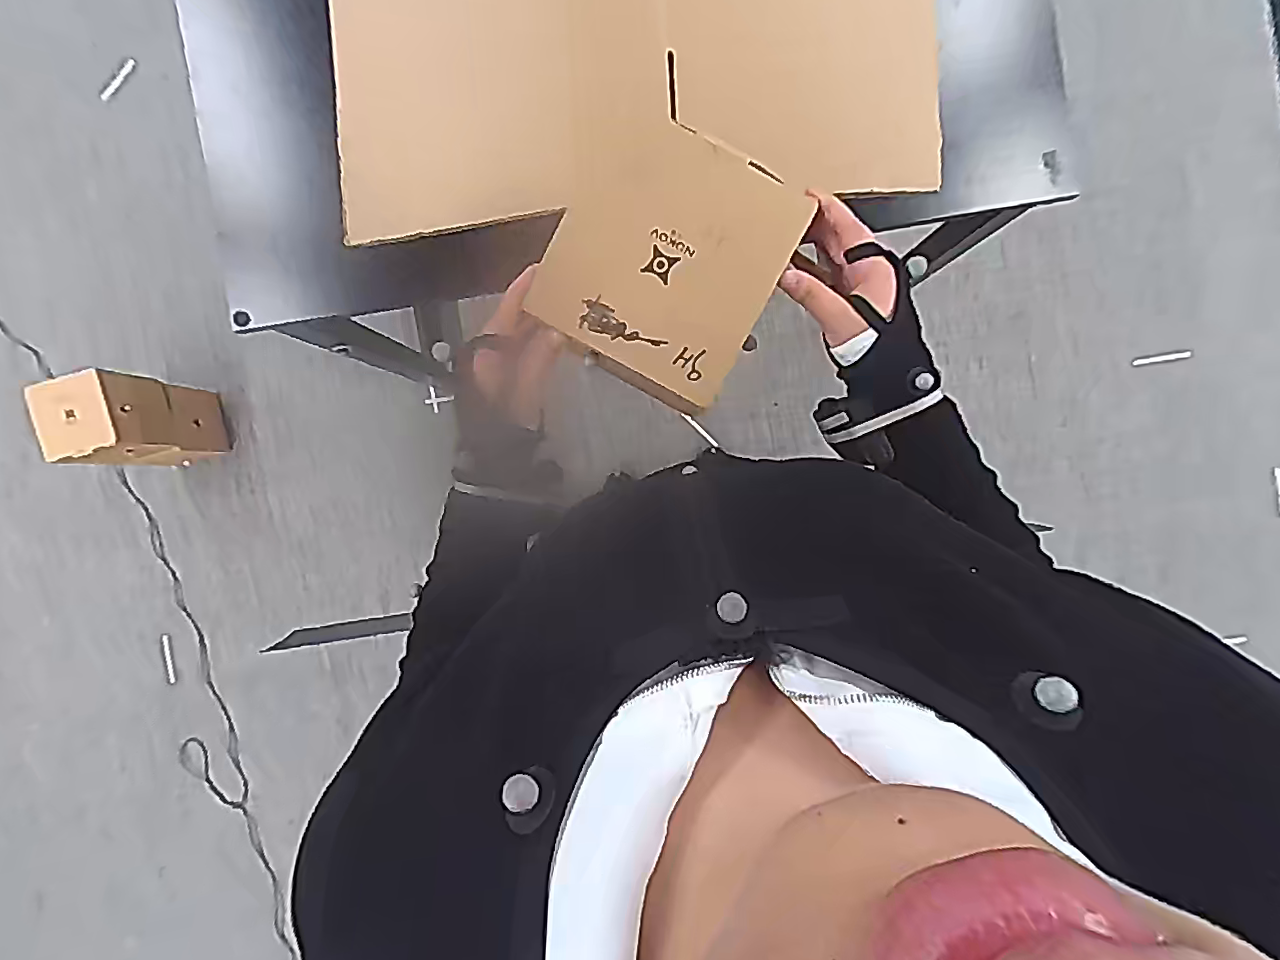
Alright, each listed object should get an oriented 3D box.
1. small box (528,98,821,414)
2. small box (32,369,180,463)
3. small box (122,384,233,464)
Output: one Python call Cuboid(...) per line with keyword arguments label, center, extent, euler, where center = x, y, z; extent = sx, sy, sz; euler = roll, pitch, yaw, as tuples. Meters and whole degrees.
Cuboid(label="small box", center=(0.026, -0.175, 0.485), extent=(0.168, 0.176, 0.179), euler=(29, 94, 0))
Cuboid(label="small box", center=(-1.238, -0.143, 1.269), extent=(0.168, 0.176, 0.179), euler=(-16, 90, 0))
Cuboid(label="small box", center=(-1.233, -0.141, 1.431), extent=(0.168, 0.176, 0.179), euler=(-13, 92, 1))
